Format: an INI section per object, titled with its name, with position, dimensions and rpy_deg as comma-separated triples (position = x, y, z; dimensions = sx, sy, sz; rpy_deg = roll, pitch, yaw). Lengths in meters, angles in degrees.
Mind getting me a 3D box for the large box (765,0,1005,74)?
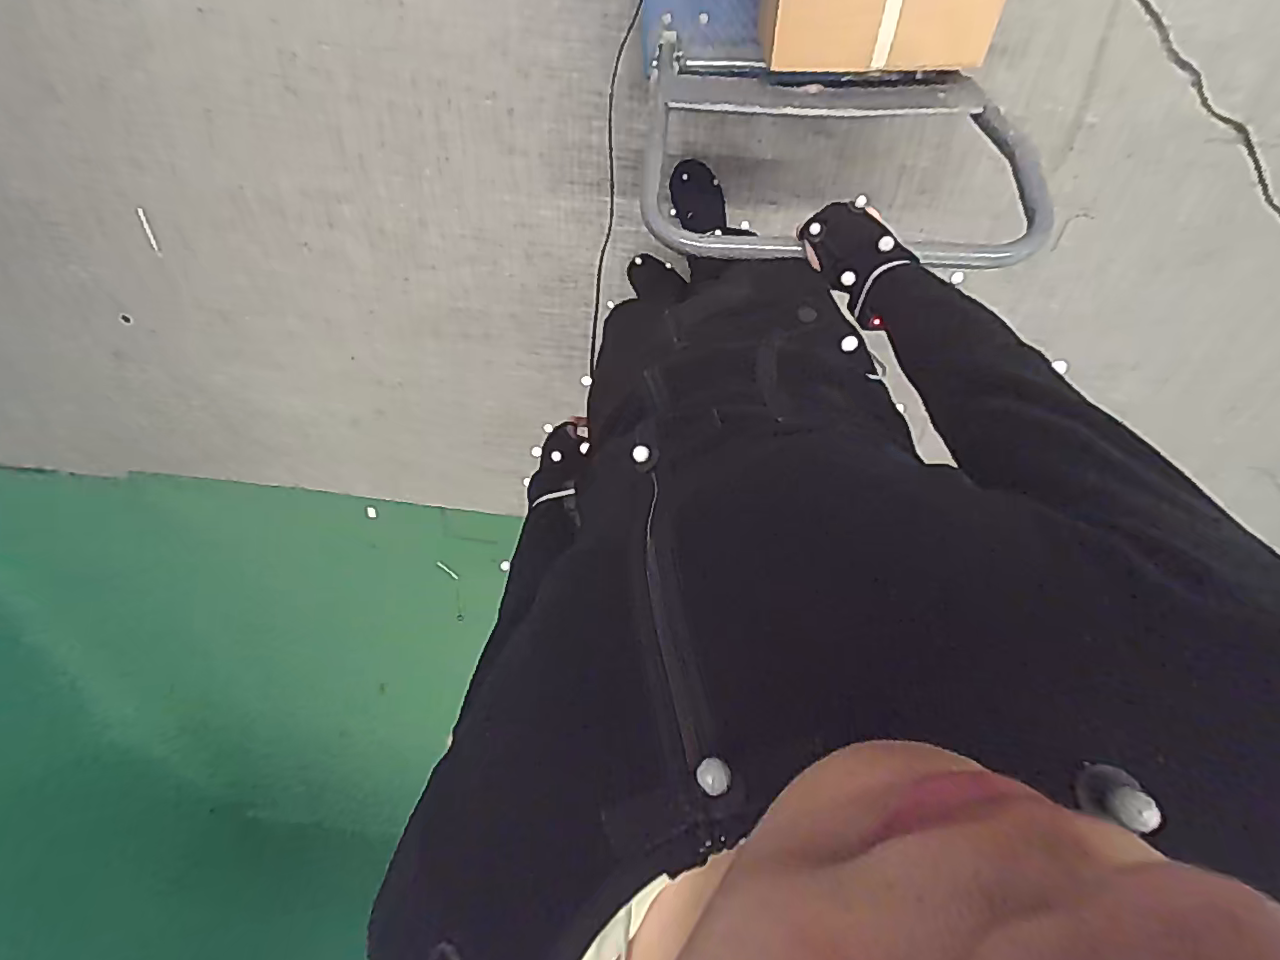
[large box]
position = 0.367, -0.865, 0.783
dimensions = 0.320, 0.320, 0.408
rpy_deg = 3, 137, 4
